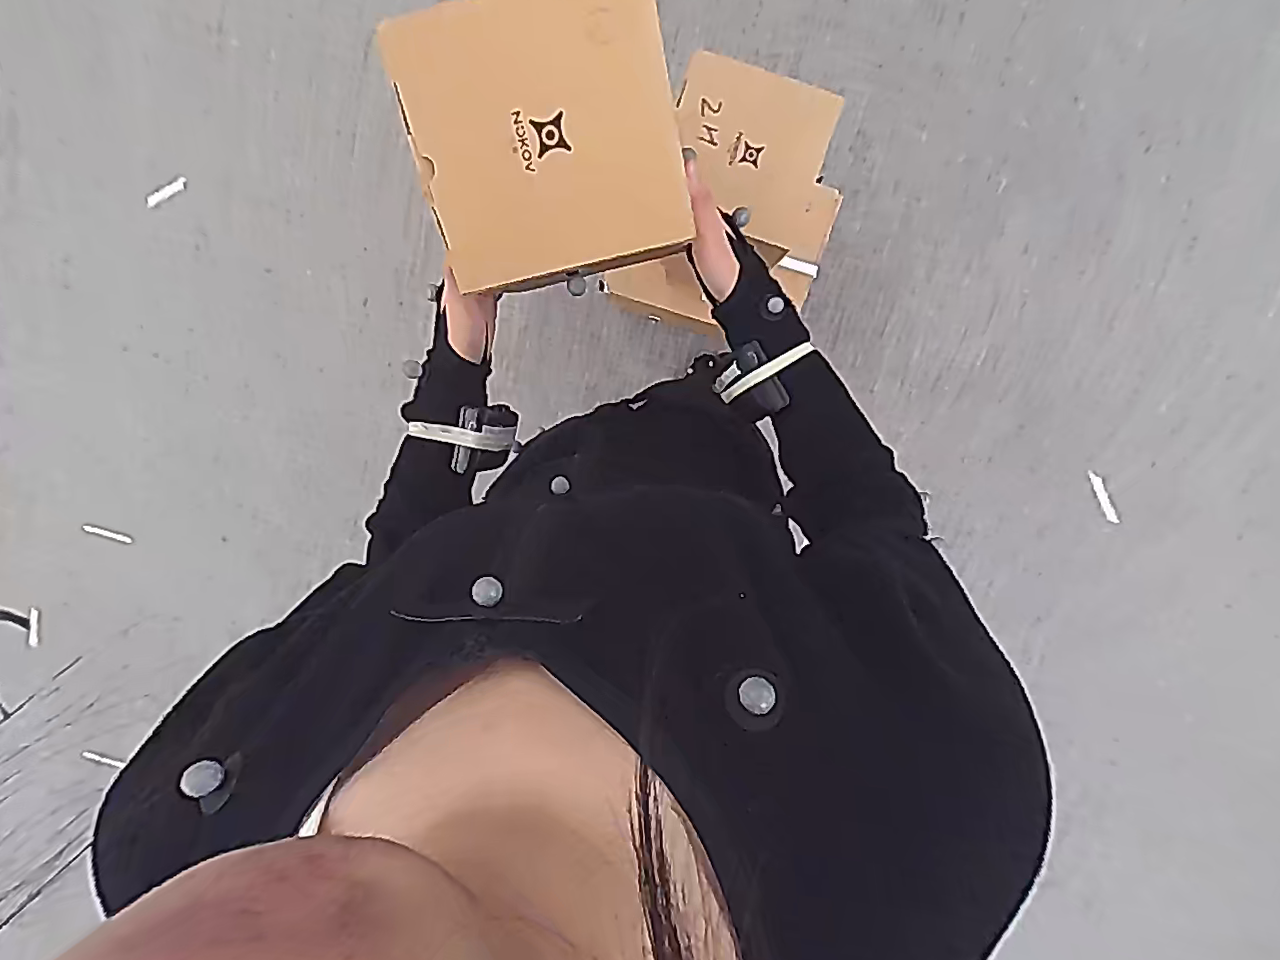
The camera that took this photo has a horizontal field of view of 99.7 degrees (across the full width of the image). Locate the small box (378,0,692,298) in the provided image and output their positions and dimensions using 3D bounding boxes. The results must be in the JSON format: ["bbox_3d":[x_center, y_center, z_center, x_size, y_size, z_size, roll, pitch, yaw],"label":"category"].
[{"bbox_3d":[-0.063,-0.253,0.433,0.179,0.176,0.168,-12,110,7],"label":"small box"}]

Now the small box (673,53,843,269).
[{"bbox_3d":[0.122,-0.382,0.686,0.179,0.176,0.168,19,102,0],"label":"small box"}]

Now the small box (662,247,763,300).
[{"bbox_3d":[0.147,-0.444,1.008,0.179,0.176,0.168,15,103,0],"label":"small box"}]
